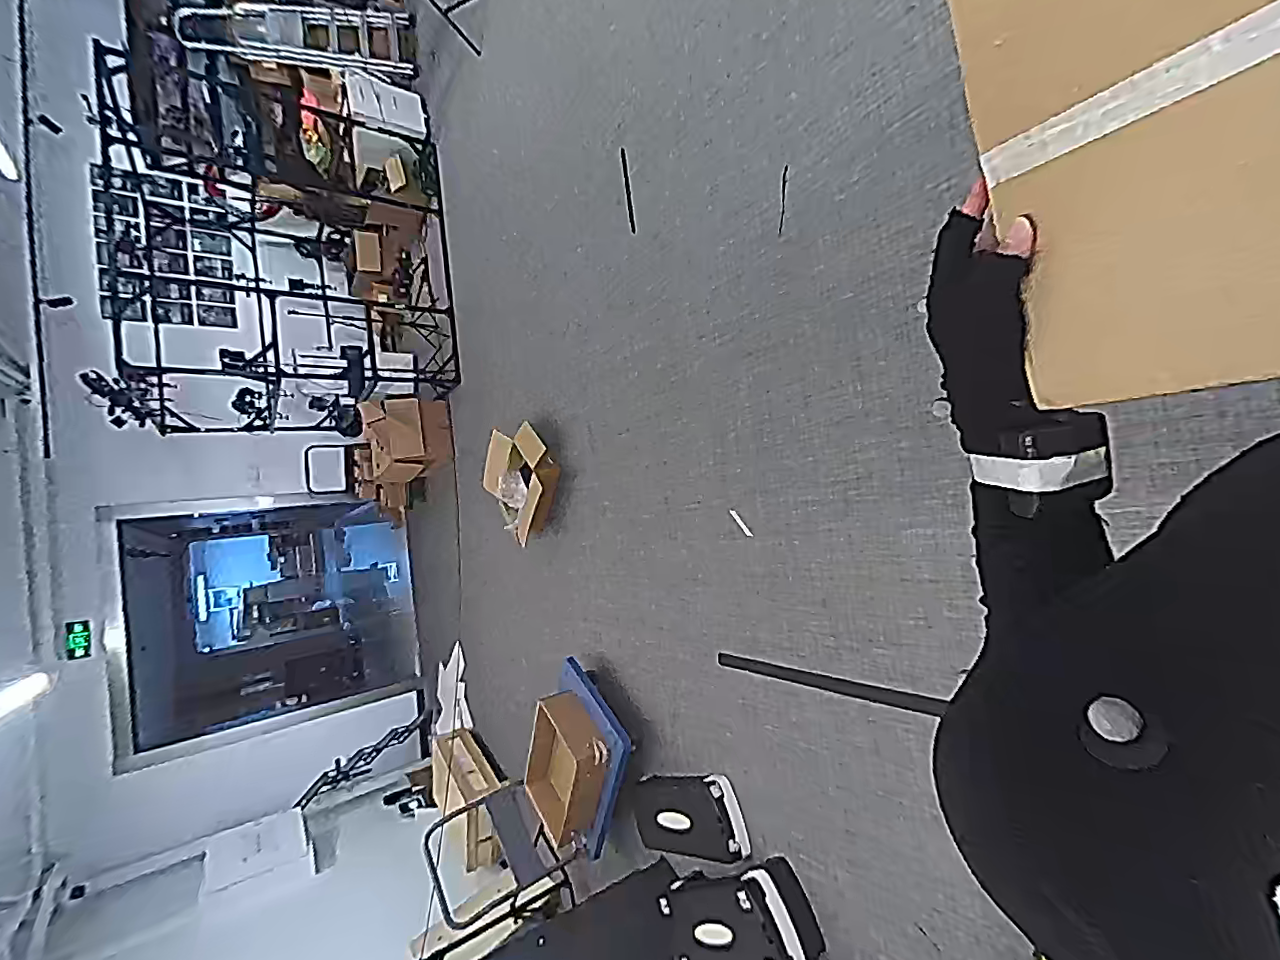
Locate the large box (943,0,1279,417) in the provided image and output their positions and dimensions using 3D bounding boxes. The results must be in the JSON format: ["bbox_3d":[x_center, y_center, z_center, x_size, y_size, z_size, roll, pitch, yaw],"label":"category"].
[{"bbox_3d":[0.450,-0.247,0.264,0.408,0.320,0.320,-7,101,57],"label":"large box"}]
